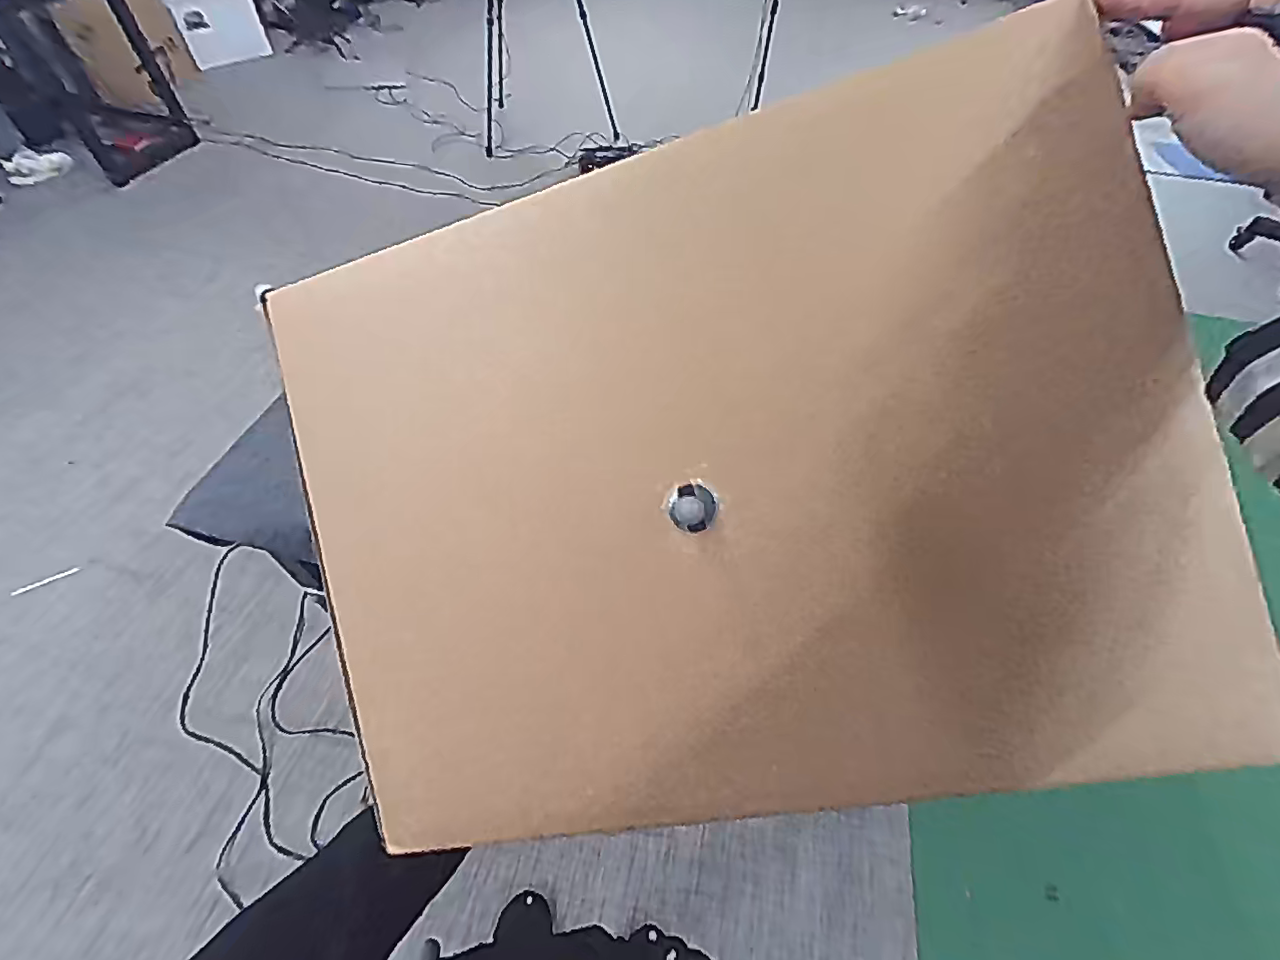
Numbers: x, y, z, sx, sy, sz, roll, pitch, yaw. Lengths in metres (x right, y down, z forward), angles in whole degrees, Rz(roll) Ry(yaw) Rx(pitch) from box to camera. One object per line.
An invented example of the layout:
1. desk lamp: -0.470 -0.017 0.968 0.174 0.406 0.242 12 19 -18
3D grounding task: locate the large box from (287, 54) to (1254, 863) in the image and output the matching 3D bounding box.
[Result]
1. large box: 0.060 0.009 0.405 0.408 0.320 0.320 -15 88 10
